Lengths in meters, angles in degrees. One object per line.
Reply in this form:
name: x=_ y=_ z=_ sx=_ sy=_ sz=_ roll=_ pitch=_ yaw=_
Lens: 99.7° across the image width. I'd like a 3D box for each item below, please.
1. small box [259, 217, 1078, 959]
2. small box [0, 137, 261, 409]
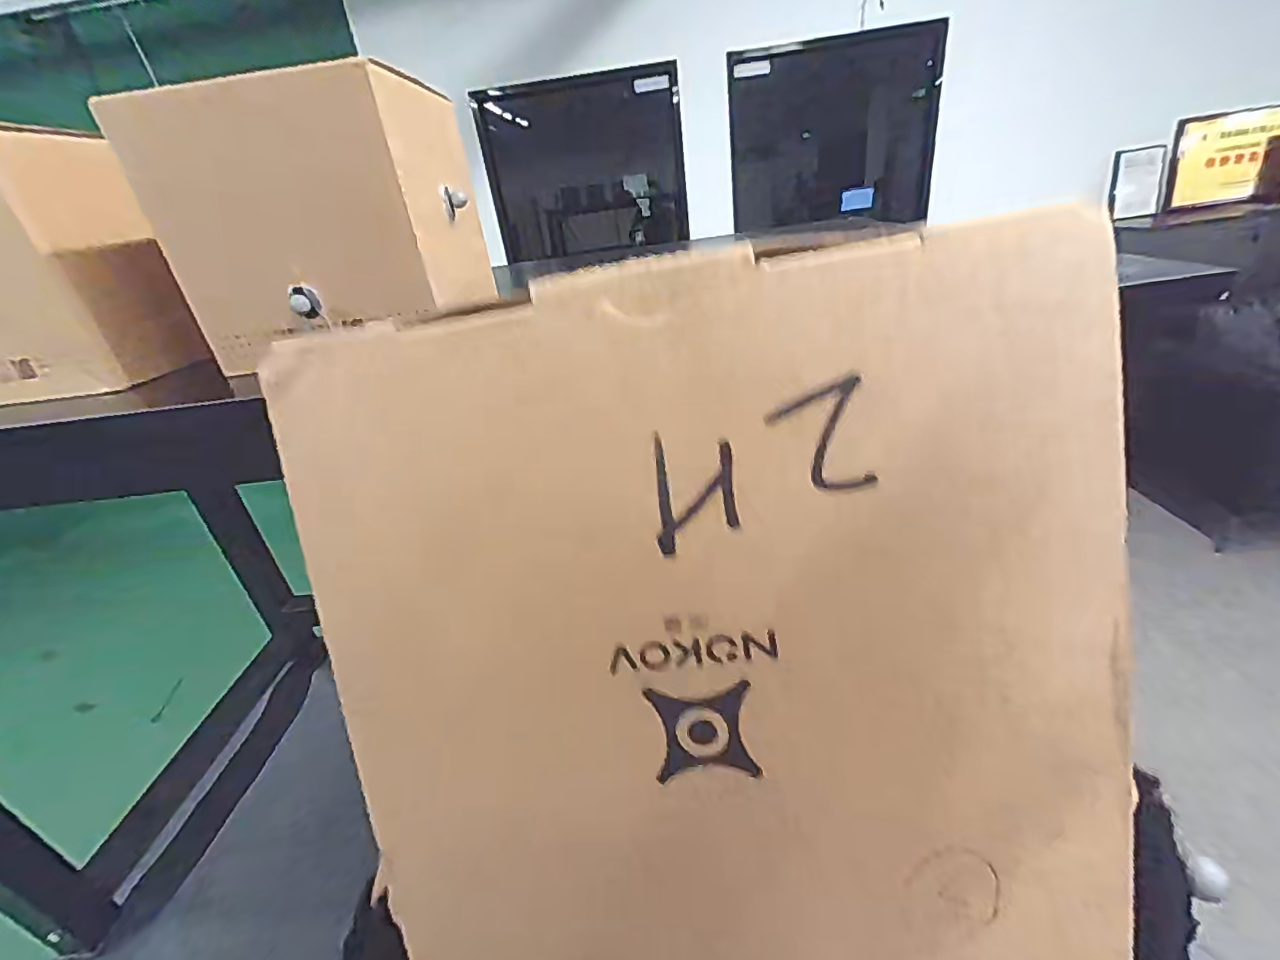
small box: x=0.016 y=0.032 z=0.200 sx=0.168 sy=0.179 sz=0.176 roll=-8 pitch=8 yaw=7
small box: x=-0.460 y=-0.161 z=0.437 sx=0.168 sy=0.176 sz=0.179 roll=-6 pitch=27 yaw=5
